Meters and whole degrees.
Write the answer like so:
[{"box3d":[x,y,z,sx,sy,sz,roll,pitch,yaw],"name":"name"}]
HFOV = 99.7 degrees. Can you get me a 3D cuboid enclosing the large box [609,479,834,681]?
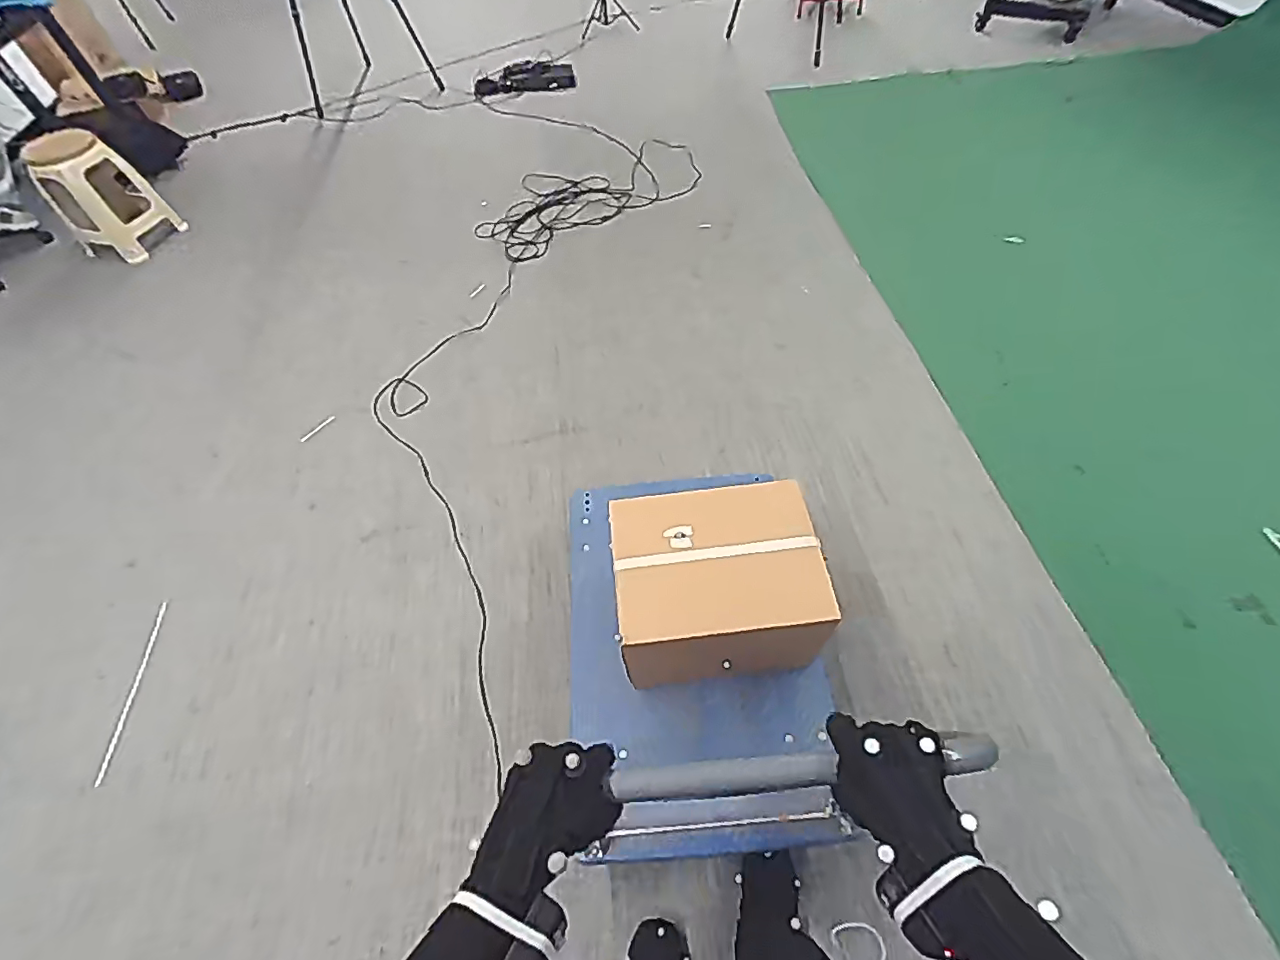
[{"box3d":[0.160,0.232,1.199,0.408,0.320,0.320,-8,55,1],"name":"large box"}]
